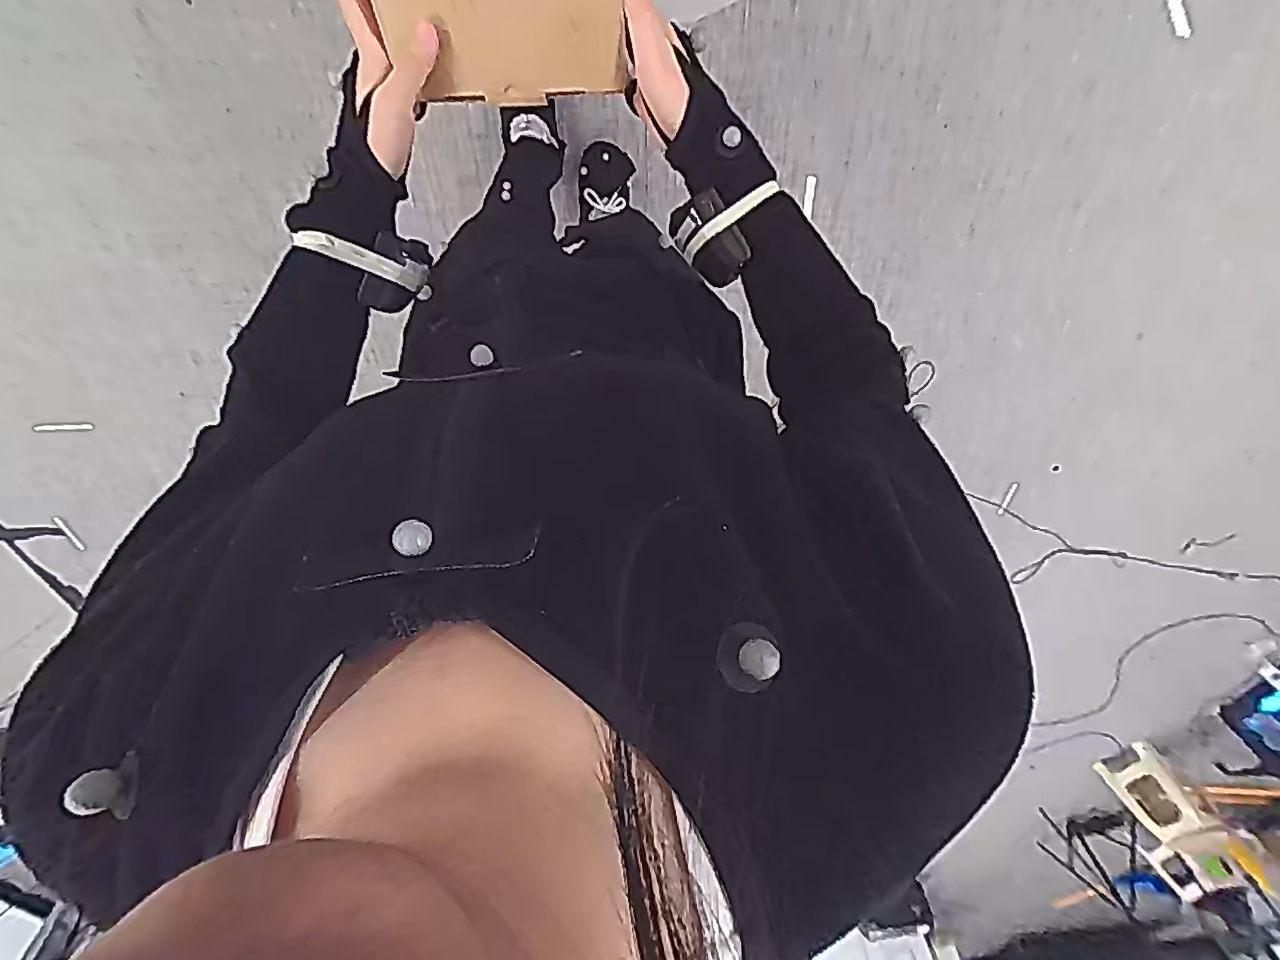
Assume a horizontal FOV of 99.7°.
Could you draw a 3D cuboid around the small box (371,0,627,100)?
[{"bbox_3d":[-0.095,-0.396,0.379,0.168,0.176,0.179,-2,139,1],"label":"small box"}]
